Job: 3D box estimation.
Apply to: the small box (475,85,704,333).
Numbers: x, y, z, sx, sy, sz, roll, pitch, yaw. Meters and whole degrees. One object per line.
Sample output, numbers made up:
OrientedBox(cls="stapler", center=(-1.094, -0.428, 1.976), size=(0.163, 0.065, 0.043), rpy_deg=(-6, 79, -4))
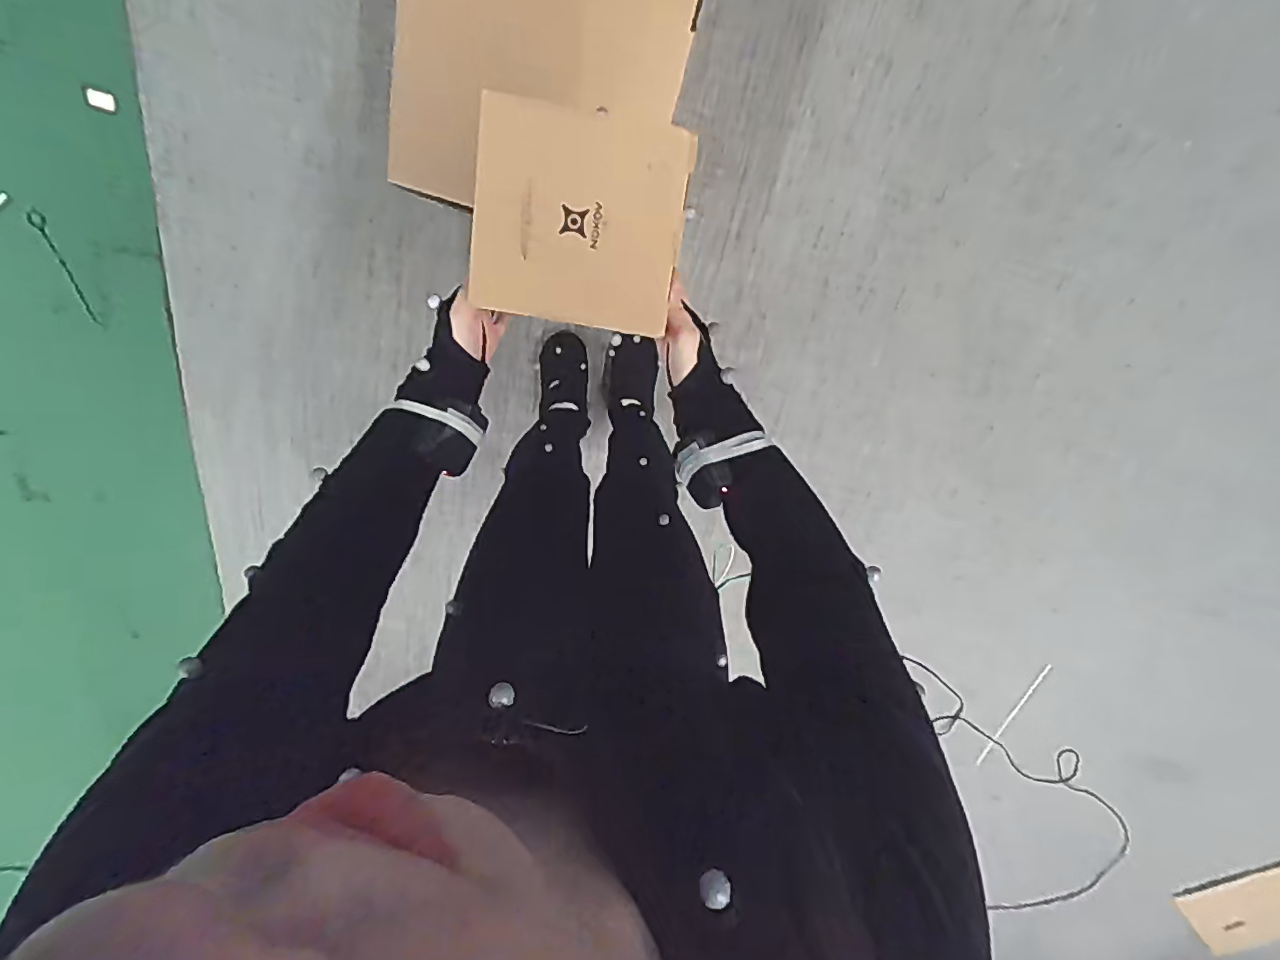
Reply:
OrientedBox(cls="small box", center=(-0.050, -0.245, 0.531), size=(0.179, 0.176, 0.168), rpy_deg=(8, 106, -5))
